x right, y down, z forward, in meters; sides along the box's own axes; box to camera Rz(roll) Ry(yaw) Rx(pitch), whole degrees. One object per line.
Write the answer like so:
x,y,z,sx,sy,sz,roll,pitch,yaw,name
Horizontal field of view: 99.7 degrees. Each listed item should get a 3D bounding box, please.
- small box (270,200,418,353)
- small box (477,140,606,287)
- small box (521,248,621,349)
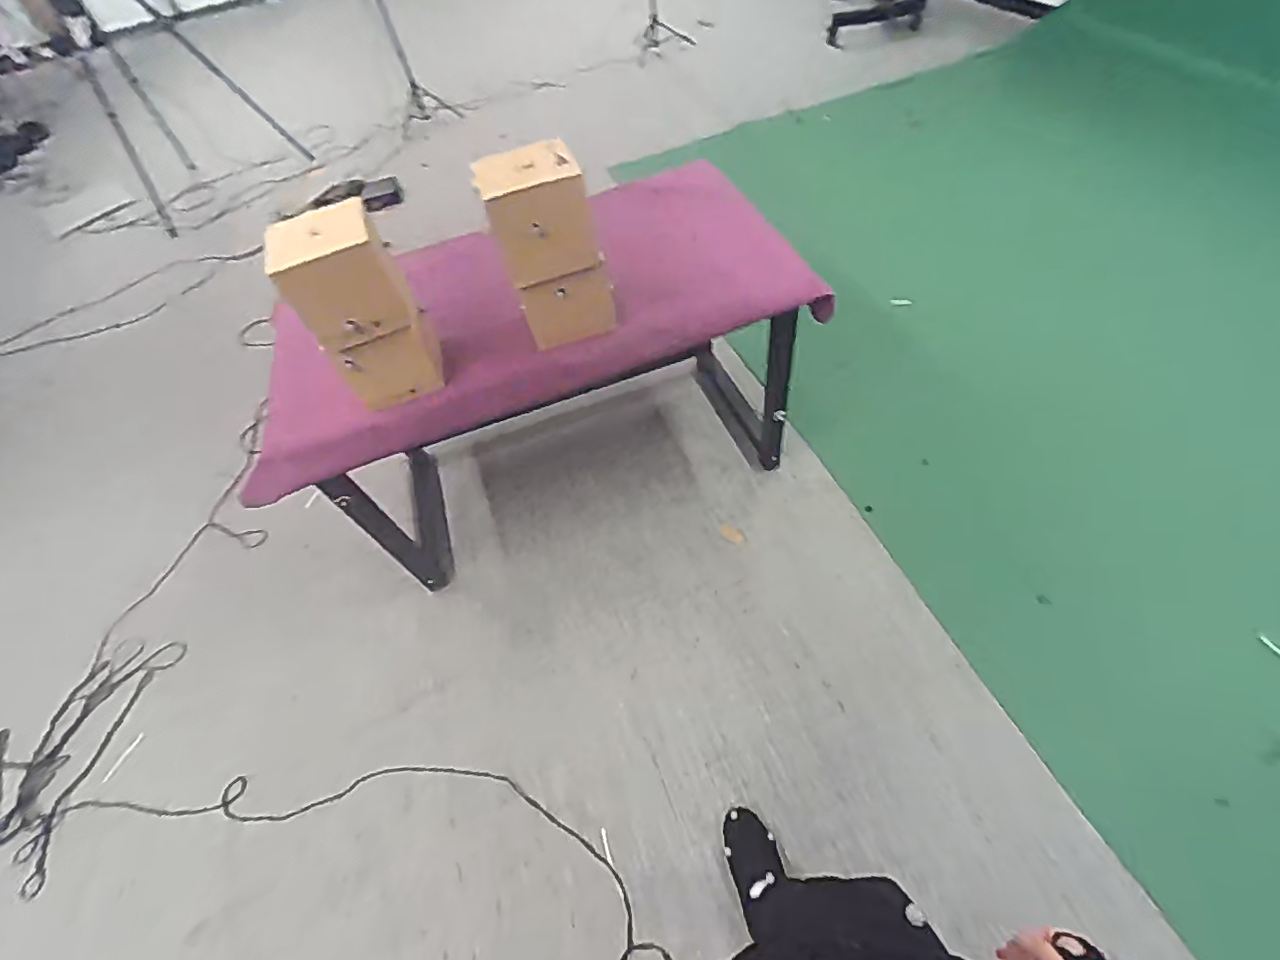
-0.516,-0.358,0.958,0.168,0.176,0.179,-23,54,-7,small box
-0.178,-0.484,0.994,0.179,0.176,0.168,-19,54,-4,small box
-0.152,-0.402,1.135,0.179,0.176,0.168,-17,53,-4,small box
